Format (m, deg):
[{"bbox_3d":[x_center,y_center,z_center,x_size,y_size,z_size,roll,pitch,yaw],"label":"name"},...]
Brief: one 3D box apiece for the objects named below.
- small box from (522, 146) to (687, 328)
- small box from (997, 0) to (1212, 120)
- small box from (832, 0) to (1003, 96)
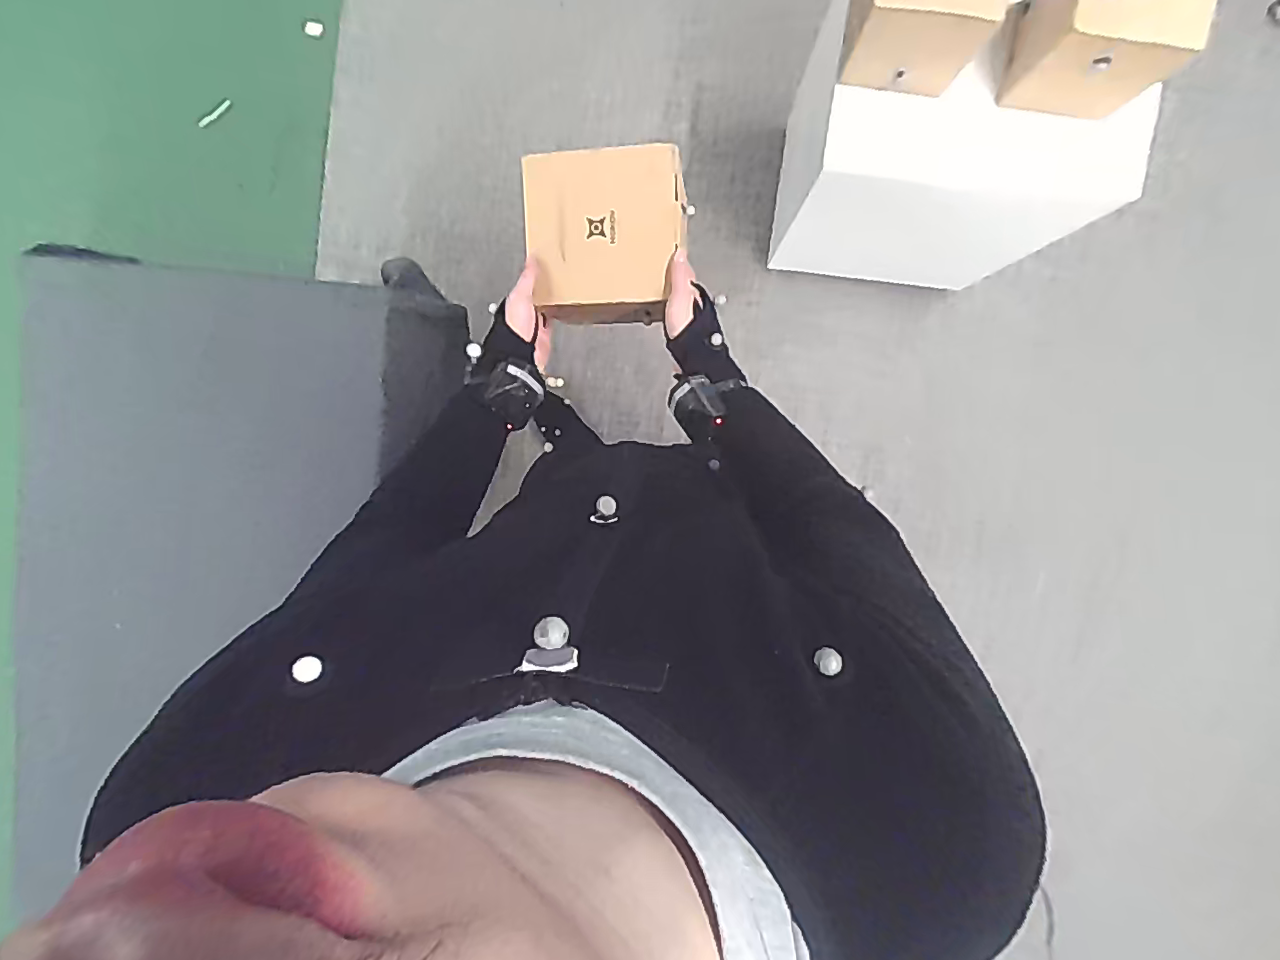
[{"bbox_3d":[-0.032,-0.287,0.675,0.179,0.176,0.168,0,97,10],"label":"small box"},{"bbox_3d":[0.661,-0.657,0.779,0.179,0.176,0.168,10,95,2],"label":"small box"},{"bbox_3d":[0.405,-0.703,0.792,0.179,0.176,0.168,9,95,1],"label":"small box"}]
